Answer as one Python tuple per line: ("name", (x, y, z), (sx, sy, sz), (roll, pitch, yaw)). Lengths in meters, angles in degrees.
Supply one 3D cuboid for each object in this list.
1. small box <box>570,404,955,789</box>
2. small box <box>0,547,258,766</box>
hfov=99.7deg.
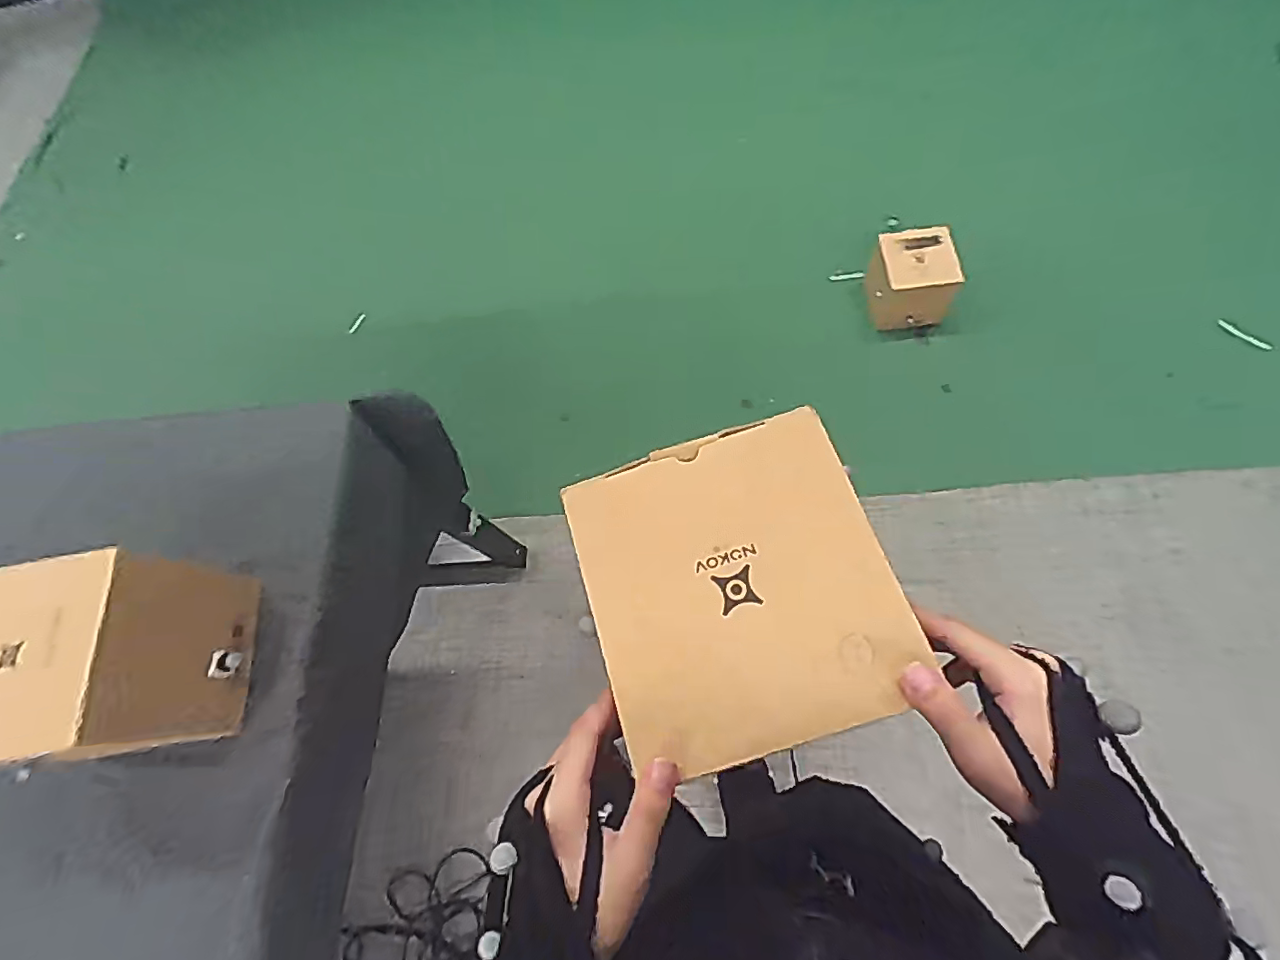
("small box", (0.068, 0.081, 0.372), (0.168, 0.176, 0.179), (-18, 68, 1))
("small box", (-0.522, 0.176, 0.524), (0.179, 0.176, 0.168), (-11, 69, 3))
